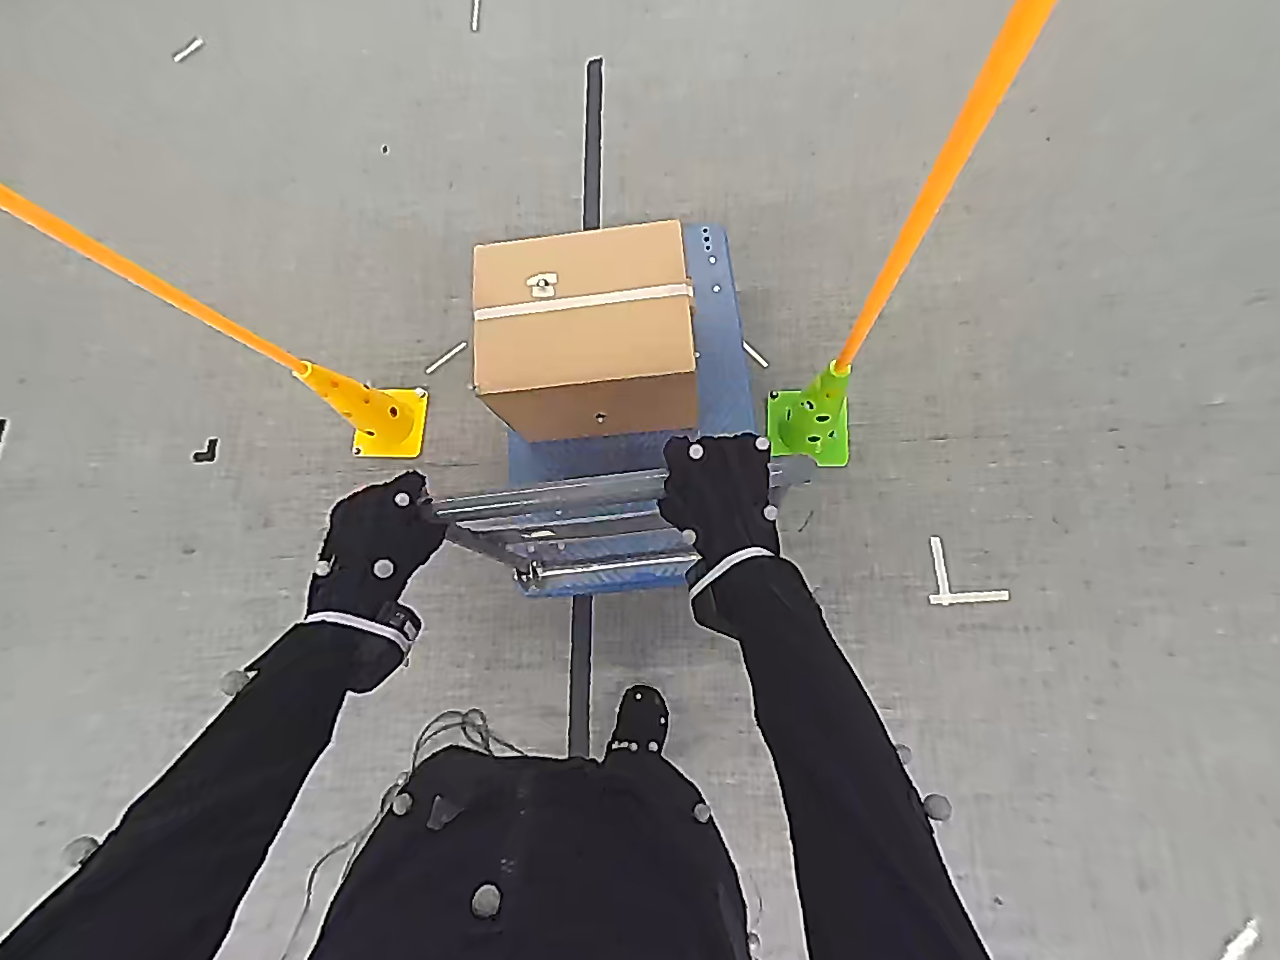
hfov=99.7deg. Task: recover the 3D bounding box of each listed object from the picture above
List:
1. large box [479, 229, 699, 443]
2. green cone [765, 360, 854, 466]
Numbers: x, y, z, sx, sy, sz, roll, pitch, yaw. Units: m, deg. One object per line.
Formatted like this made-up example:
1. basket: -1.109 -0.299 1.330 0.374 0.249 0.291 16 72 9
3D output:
1. large box: -0.091 -0.280 1.160 0.408 0.320 0.320 -5 77 6
2. green cone: 0.408 -0.172 1.224 0.202 0.368 0.200 2 77 6
